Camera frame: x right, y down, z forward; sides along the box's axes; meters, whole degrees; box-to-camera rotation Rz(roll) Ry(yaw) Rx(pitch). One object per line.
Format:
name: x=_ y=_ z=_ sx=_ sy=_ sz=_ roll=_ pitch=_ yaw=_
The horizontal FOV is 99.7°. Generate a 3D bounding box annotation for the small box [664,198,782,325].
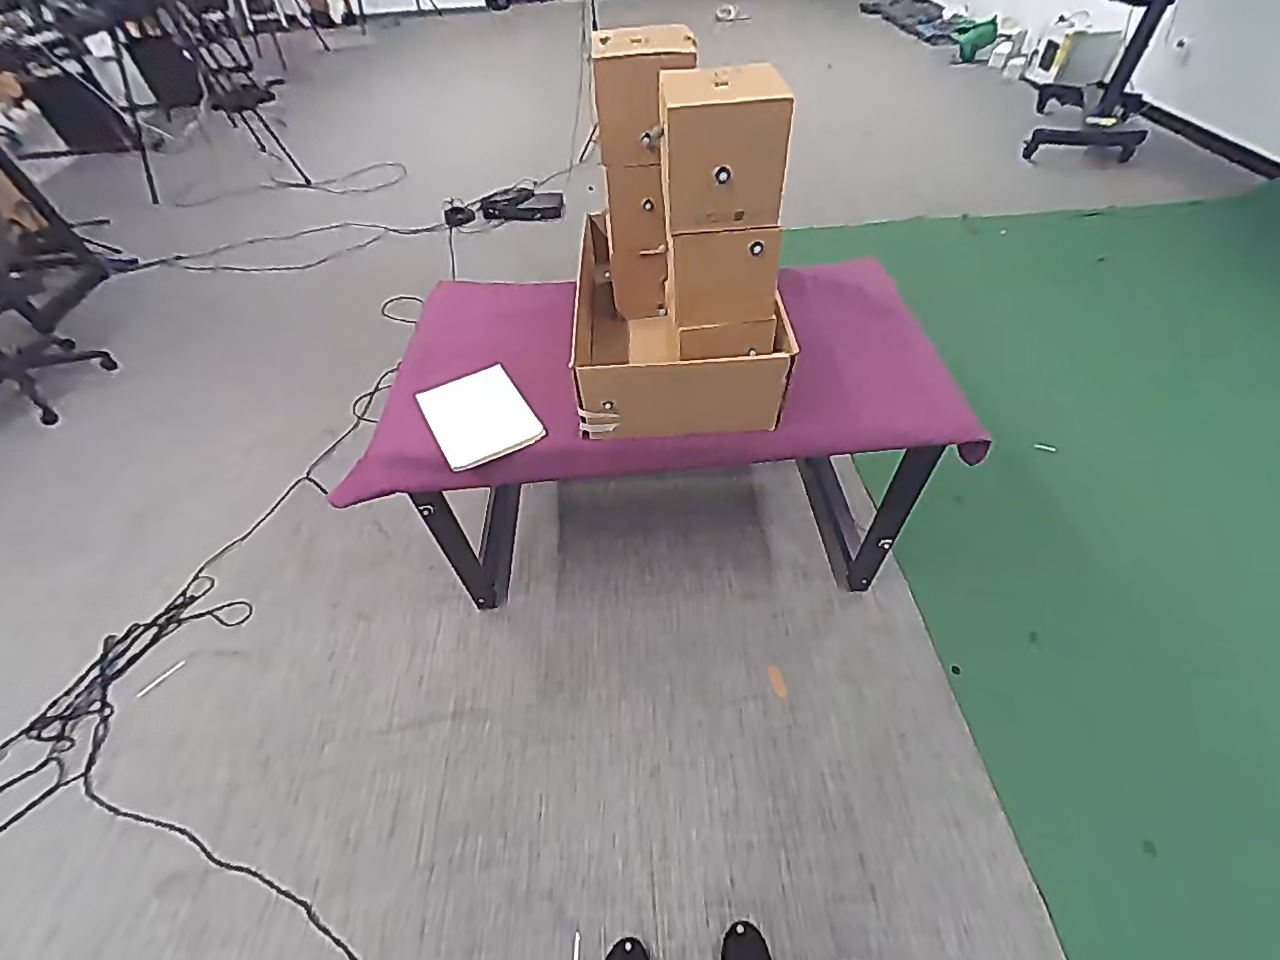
small box: x=0.135 y=-0.382 z=0.934 sx=0.179 sy=0.176 sz=0.168 roll=-3 pitch=49 yaw=1

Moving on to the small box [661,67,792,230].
small box: x=0.119 y=-0.490 z=0.810 sx=0.168 sy=0.176 sz=0.179 roll=-3 pitch=48 yaw=1

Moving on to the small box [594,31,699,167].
small box: x=0.008 y=-0.698 z=0.997 sx=0.179 sy=0.176 sz=0.168 roll=-3 pitch=51 yaw=-1

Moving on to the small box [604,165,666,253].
small box: x=0.017 y=-0.592 z=1.122 sx=0.179 sy=0.176 sz=0.168 roll=-5 pitch=51 yaw=-1
